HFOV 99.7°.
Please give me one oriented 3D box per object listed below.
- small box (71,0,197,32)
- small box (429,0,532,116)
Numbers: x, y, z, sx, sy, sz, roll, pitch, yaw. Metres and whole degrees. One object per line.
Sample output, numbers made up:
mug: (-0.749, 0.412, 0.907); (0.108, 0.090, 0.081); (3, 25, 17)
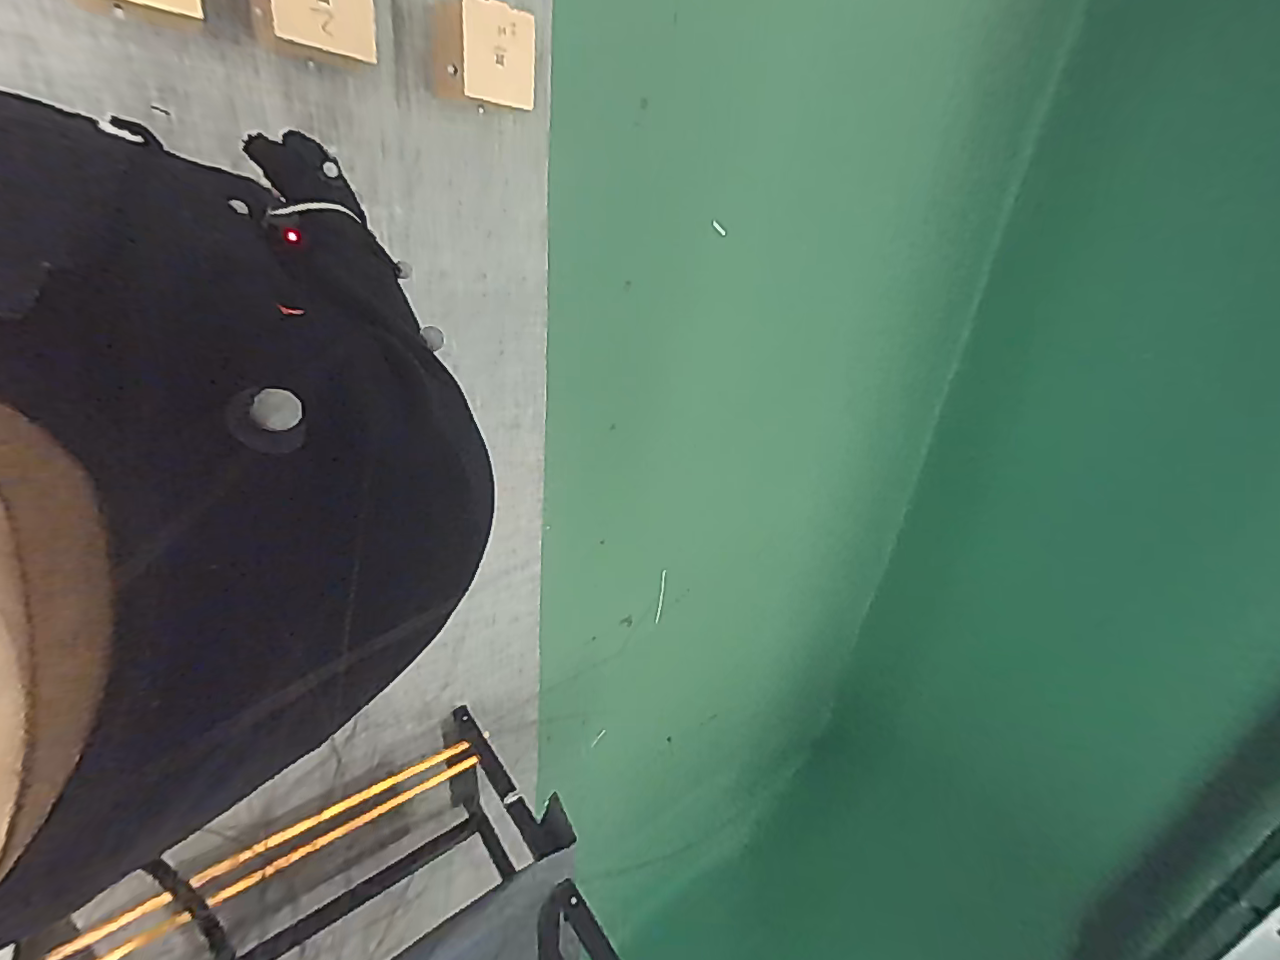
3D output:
small box: (-0.804, -0.824, 0.828); (0.168, 0.176, 0.179); (-15, 122, -37)
small box: (-0.355, -0.924, 1.197); (0.168, 0.176, 0.179); (-15, 123, -38)
